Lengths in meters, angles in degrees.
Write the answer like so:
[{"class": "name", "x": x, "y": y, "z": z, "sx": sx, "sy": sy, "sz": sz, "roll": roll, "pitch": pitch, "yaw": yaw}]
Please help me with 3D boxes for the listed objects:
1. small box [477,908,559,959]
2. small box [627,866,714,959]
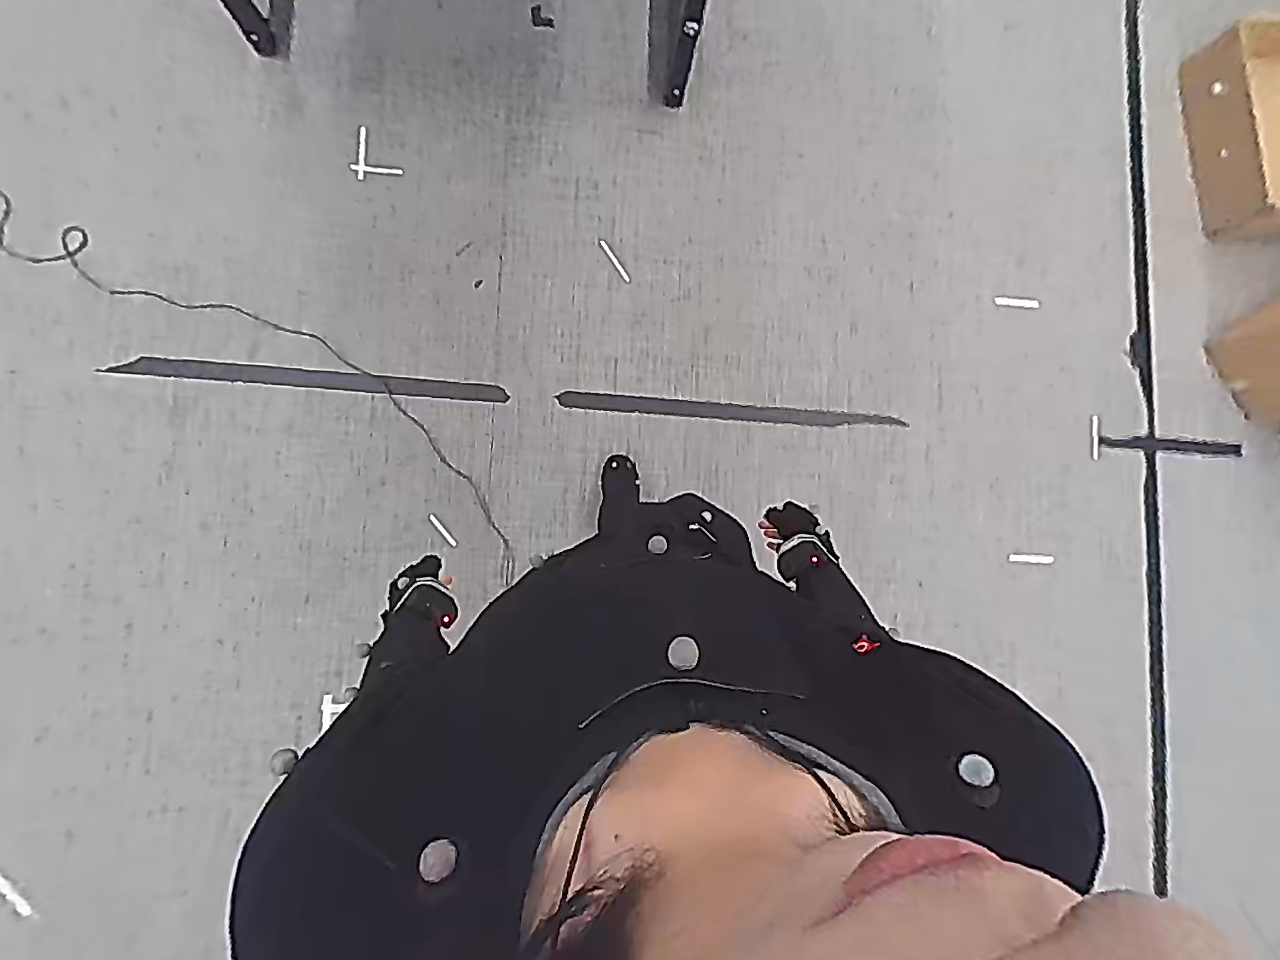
[{"class": "small box", "x": -0.297, "y": 1.221, "z": 1.331, "sx": 0.168, "sy": 0.176, "sz": 0.179, "roll": -17, "pitch": 87, "yaw": -7}, {"class": "small box", "x": 0.070, "y": 1.130, "z": 1.382, "sx": 0.179, "sy": 0.176, "sz": 0.168, "roll": 15, "pitch": 85, "yaw": -5}]
